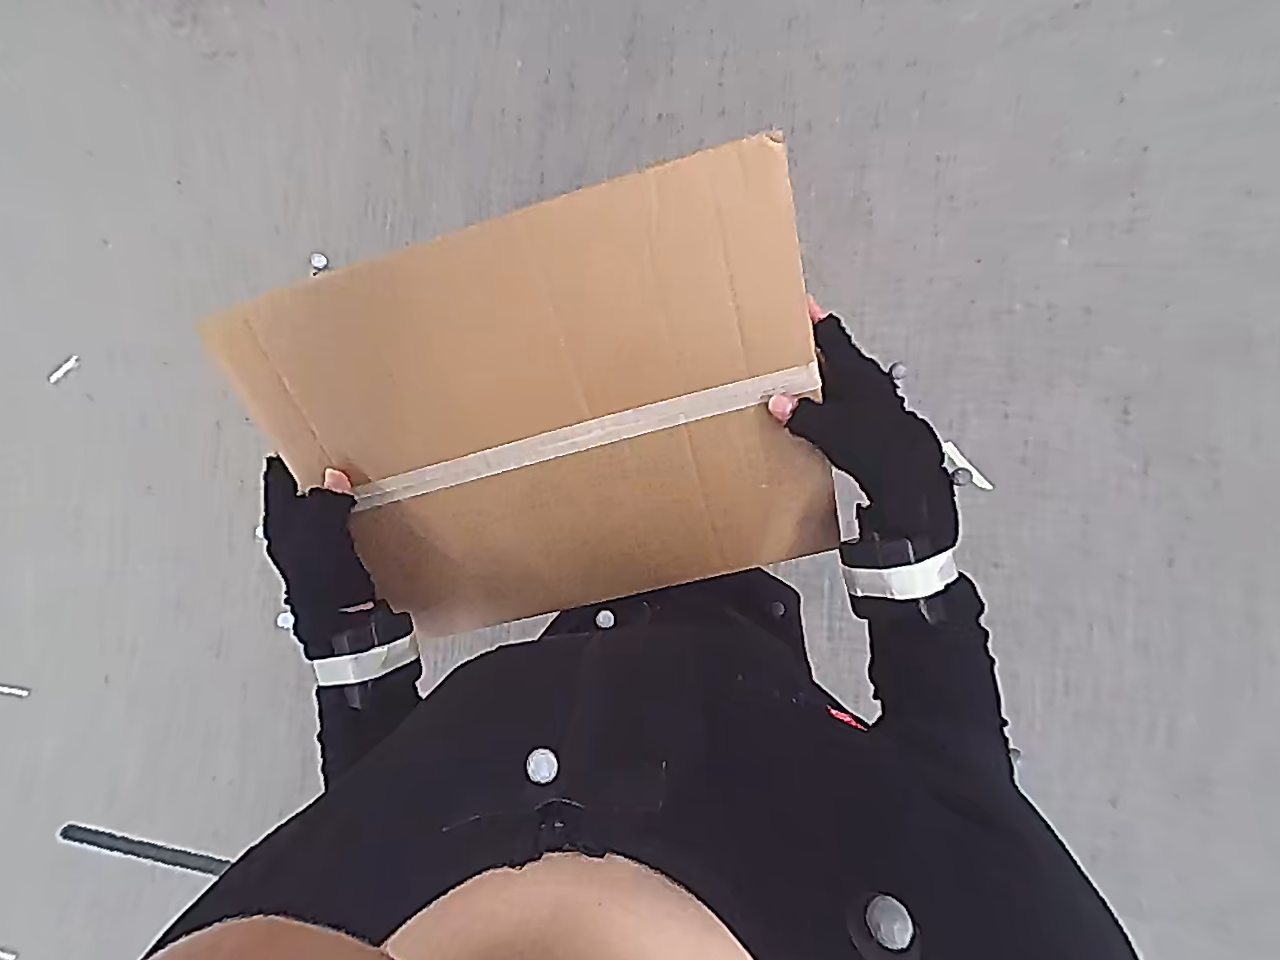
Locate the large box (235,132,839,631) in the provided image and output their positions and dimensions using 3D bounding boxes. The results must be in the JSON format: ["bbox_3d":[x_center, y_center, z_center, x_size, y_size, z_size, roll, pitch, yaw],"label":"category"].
[{"bbox_3d":[-0.061,-0.101,0.553,0.408,0.320,0.320,-14,117,8],"label":"large box"}]
